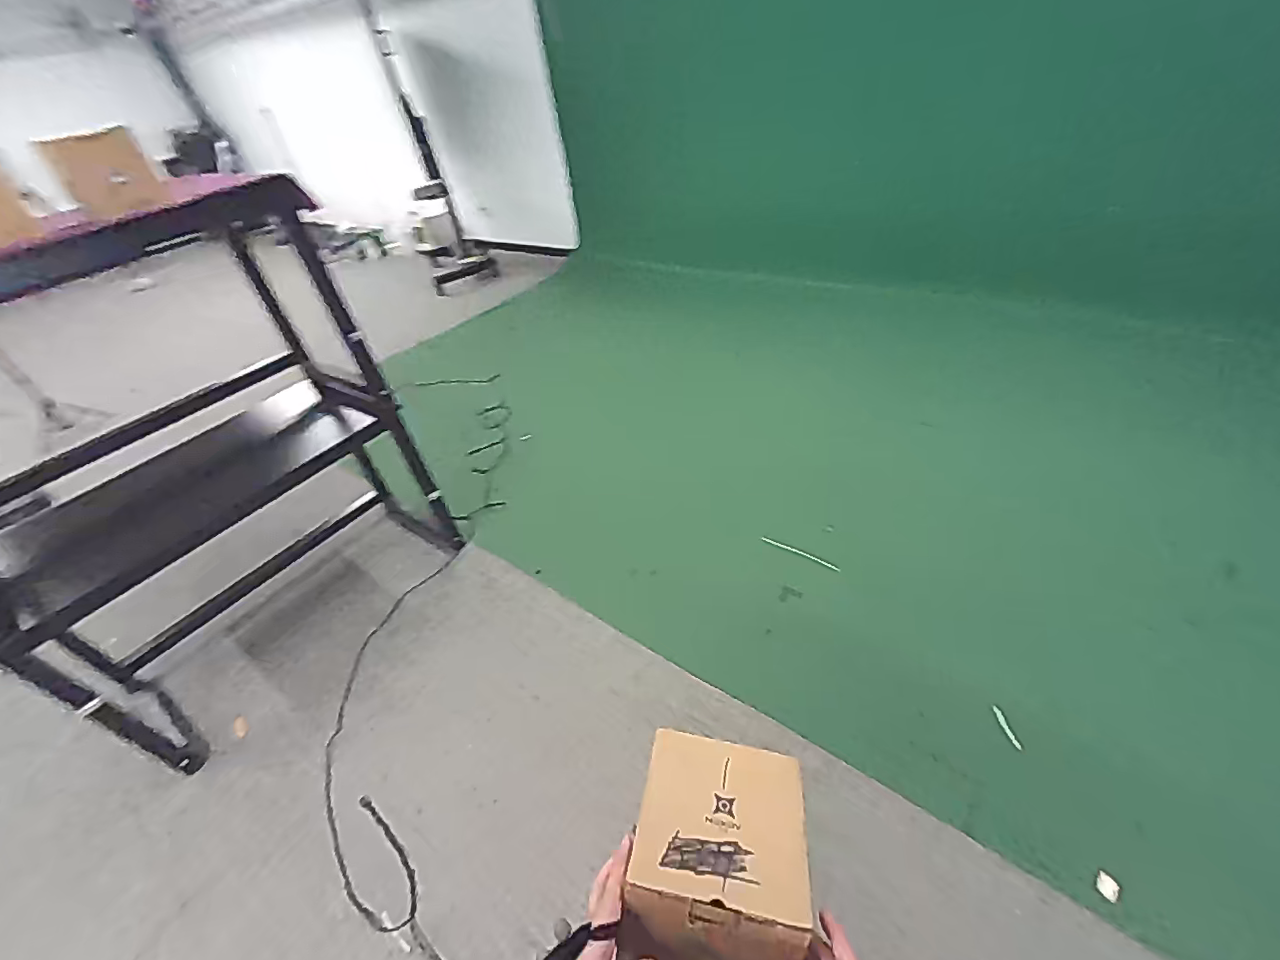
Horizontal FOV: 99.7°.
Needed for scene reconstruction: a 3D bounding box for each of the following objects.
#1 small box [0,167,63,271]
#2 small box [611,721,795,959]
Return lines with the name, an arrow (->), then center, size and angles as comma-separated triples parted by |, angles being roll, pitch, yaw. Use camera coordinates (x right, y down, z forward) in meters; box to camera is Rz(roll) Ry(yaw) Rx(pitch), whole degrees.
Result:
small box -> -1.408, -0.557, 1.162 | 0.168, 0.176, 0.179 | 18, 47, 33
small box -> 0.066, 0.404, 0.586 | 0.168, 0.176, 0.179 | 9, 24, 8
